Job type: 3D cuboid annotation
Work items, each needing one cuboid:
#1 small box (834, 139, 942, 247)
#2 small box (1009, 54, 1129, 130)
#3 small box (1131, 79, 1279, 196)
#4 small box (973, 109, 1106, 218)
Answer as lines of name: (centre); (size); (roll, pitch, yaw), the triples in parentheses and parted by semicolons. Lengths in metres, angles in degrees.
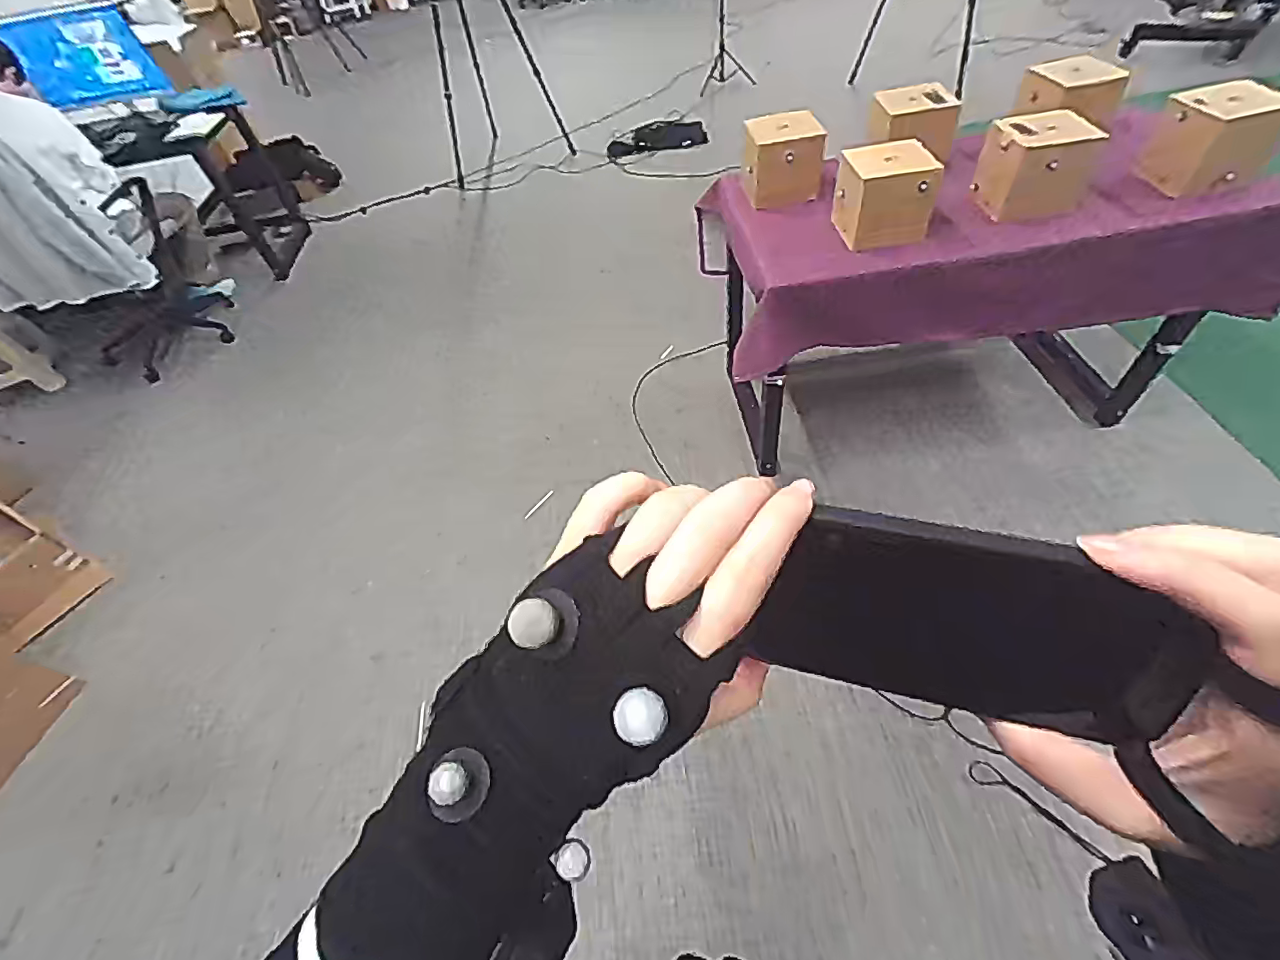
small box: (0.570, -0.671, 1.274); (0.179, 0.176, 0.168); (-7, 51, 2)
small box: (1.116, -0.993, 1.436); (0.168, 0.176, 0.179); (-11, 52, 1)
small box: (1.303, -0.781, 1.238); (0.179, 0.176, 0.168); (-10, 51, 2)
small box: (0.916, -0.737, 1.268); (0.179, 0.176, 0.168); (-6, 51, 4)
